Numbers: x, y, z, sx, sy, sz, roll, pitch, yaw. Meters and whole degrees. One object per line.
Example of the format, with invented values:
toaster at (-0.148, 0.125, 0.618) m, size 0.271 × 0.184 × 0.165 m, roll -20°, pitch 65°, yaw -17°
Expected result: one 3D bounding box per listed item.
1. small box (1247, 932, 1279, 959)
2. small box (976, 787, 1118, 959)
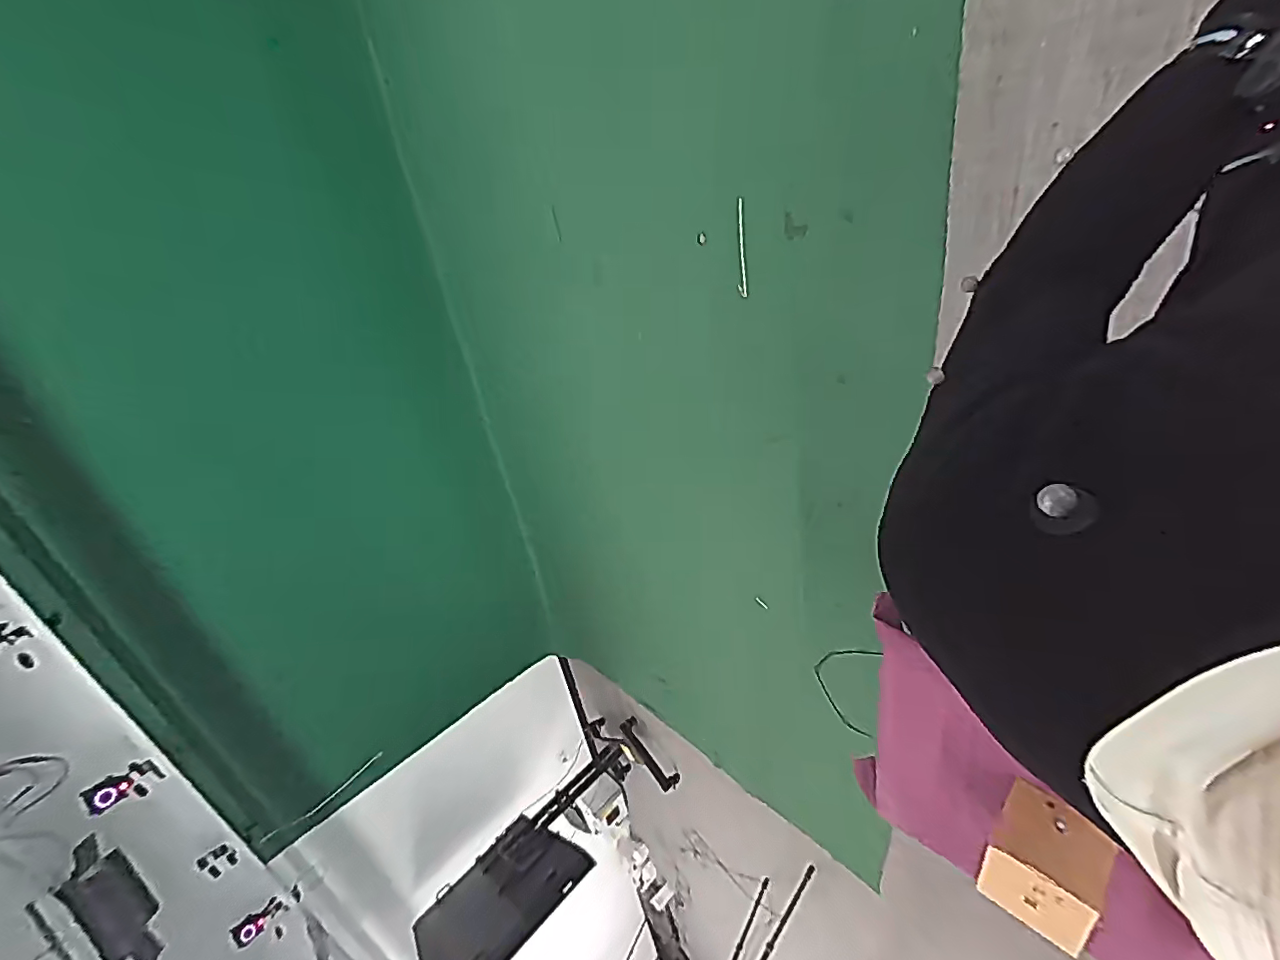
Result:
small box at (1.004, 0.815, 0.784) m, size 0.179 × 0.176 × 0.168 m, roll 15°, pitch 126°, yaw 47°
small box at (0.771, 0.739, 1.028) m, size 0.168 × 0.176 × 0.179 m, roll 21°, pitch 130°, yaw 42°
